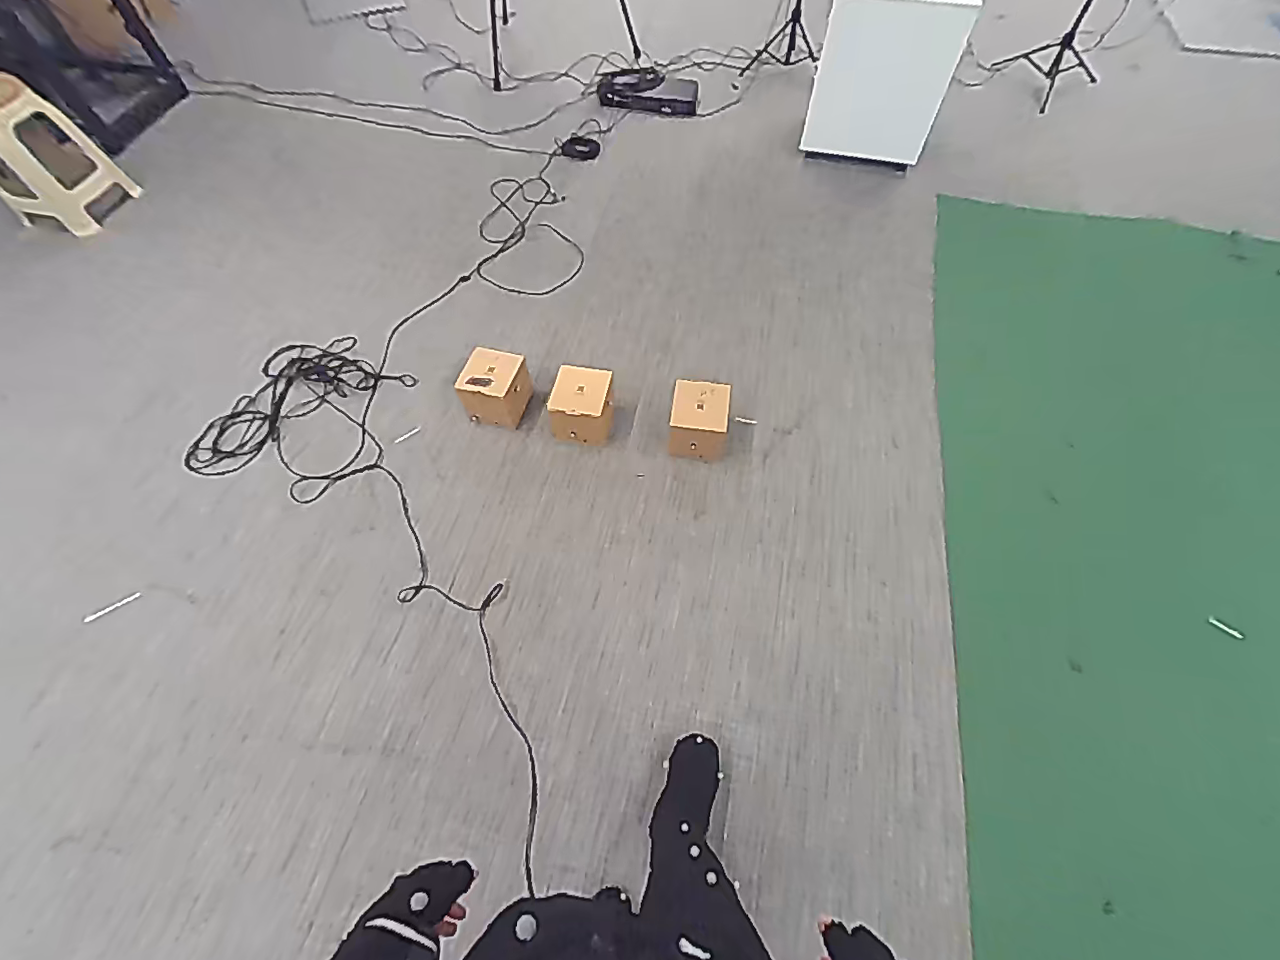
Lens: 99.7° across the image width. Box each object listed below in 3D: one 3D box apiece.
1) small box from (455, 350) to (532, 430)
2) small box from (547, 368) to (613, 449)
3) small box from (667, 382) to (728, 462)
[{"bbox_3d":[-0.461,-0.286,1.737,0.168,0.176,0.179,13,60,8],"label":"small box"},{"bbox_3d":[-0.180,-0.224,1.700,0.168,0.176,0.179,9,61,6],"label":"small box"},{"bbox_3d":[0.175,-0.173,1.664,0.168,0.176,0.179,8,61,4],"label":"small box"}]
